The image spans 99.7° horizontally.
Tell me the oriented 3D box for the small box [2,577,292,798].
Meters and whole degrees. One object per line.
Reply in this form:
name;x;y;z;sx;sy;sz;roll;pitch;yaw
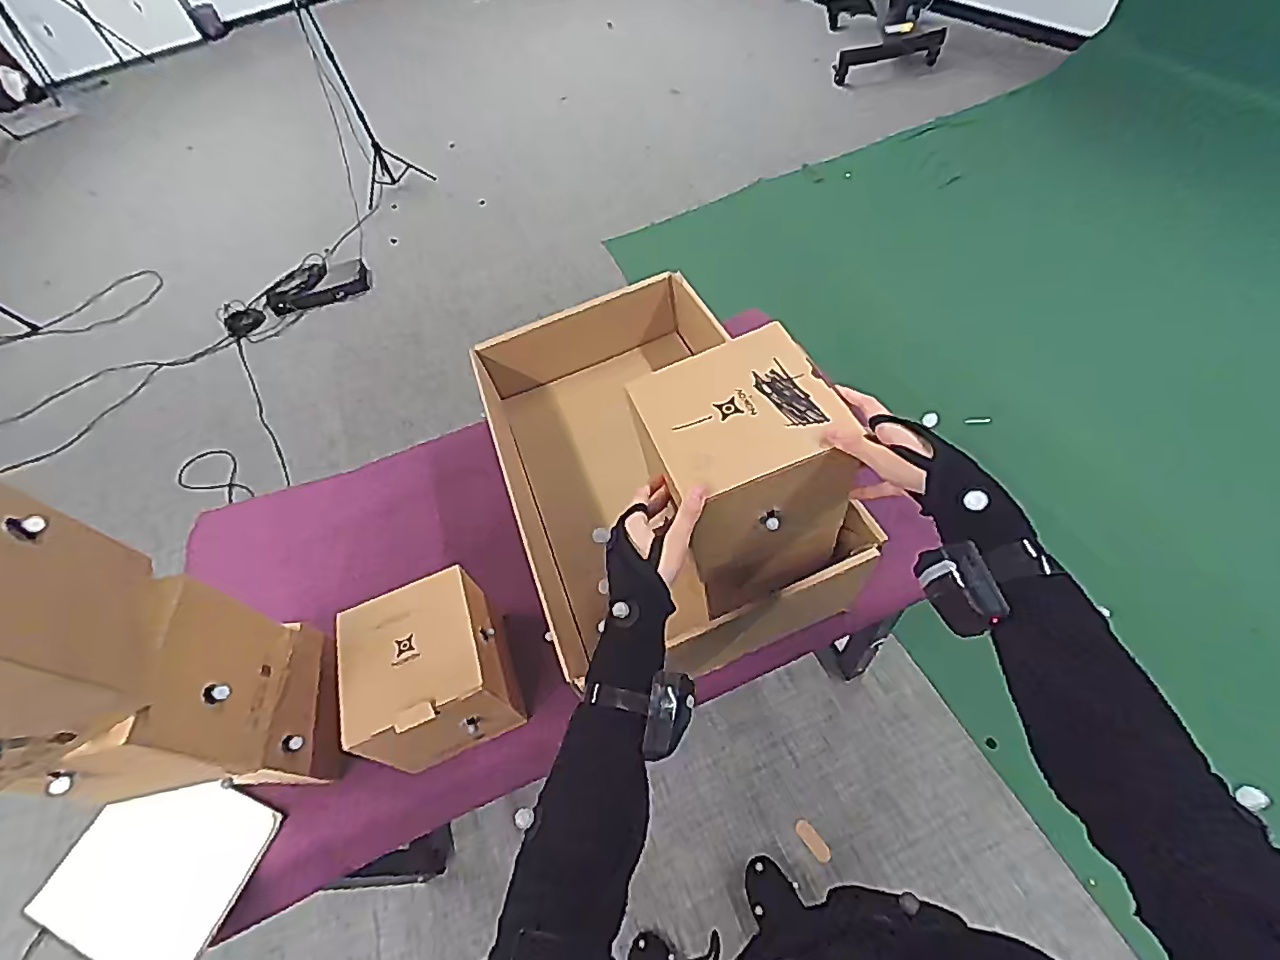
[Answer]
small box;-0.517;0.226;0.576;0.179;0.176;0.168;-13;54;2

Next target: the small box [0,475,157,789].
small box;-0.548;0.132;0.444;0.168;0.176;0.179;-31;56;-11

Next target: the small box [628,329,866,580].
small box;0.106;-0.021;0.575;0.179;0.176;0.168;-22;54;-3
